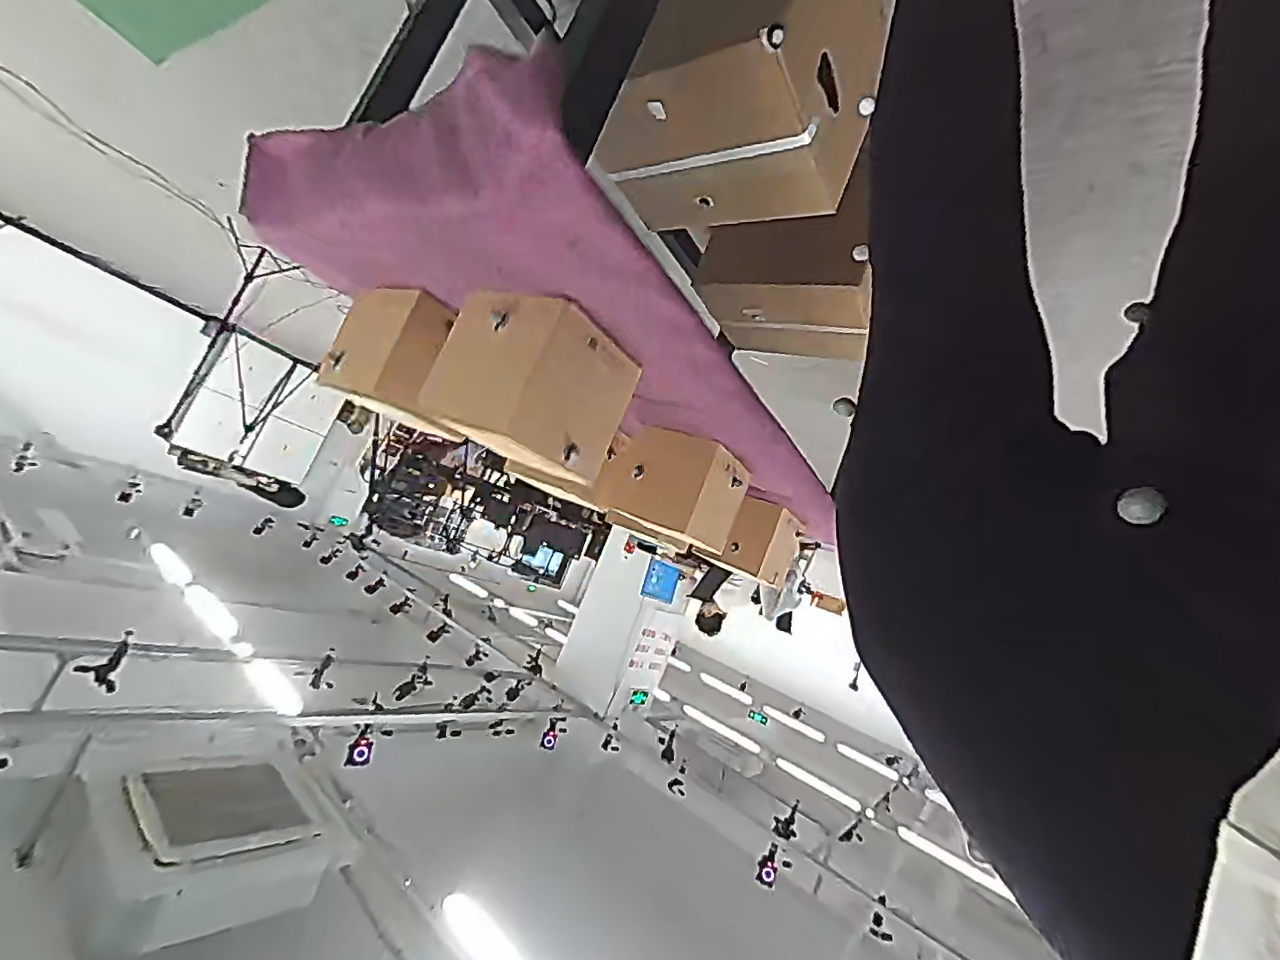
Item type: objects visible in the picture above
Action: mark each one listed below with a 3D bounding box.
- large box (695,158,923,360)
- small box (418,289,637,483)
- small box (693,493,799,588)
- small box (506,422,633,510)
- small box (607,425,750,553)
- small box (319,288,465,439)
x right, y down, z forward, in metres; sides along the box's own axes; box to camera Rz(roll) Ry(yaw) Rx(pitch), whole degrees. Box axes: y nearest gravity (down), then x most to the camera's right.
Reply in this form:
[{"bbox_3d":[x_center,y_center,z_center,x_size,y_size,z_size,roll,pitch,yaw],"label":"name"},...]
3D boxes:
[{"bbox_3d":[0.416,-0.521,1.317,0.408,0.320,0.320,18,170,37],"label":"large box"},{"bbox_3d":[-0.134,-0.120,0.680,0.179,0.176,0.168,20,173,35],"label":"small box"},{"bbox_3d":[0.260,0.135,1.283,0.179,0.176,0.168,18,171,38],"label":"small box"},{"bbox_3d":[-0.144,-0.057,1.147,0.179,0.176,0.168,16,169,34],"label":"small box"},{"bbox_3d":[0.075,0.013,0.996,0.179,0.176,0.168,18,171,35],"label":"small box"},{"bbox_3d":[-0.356,-0.185,0.851,0.179,0.176,0.168,16,171,35],"label":"small box"}]
